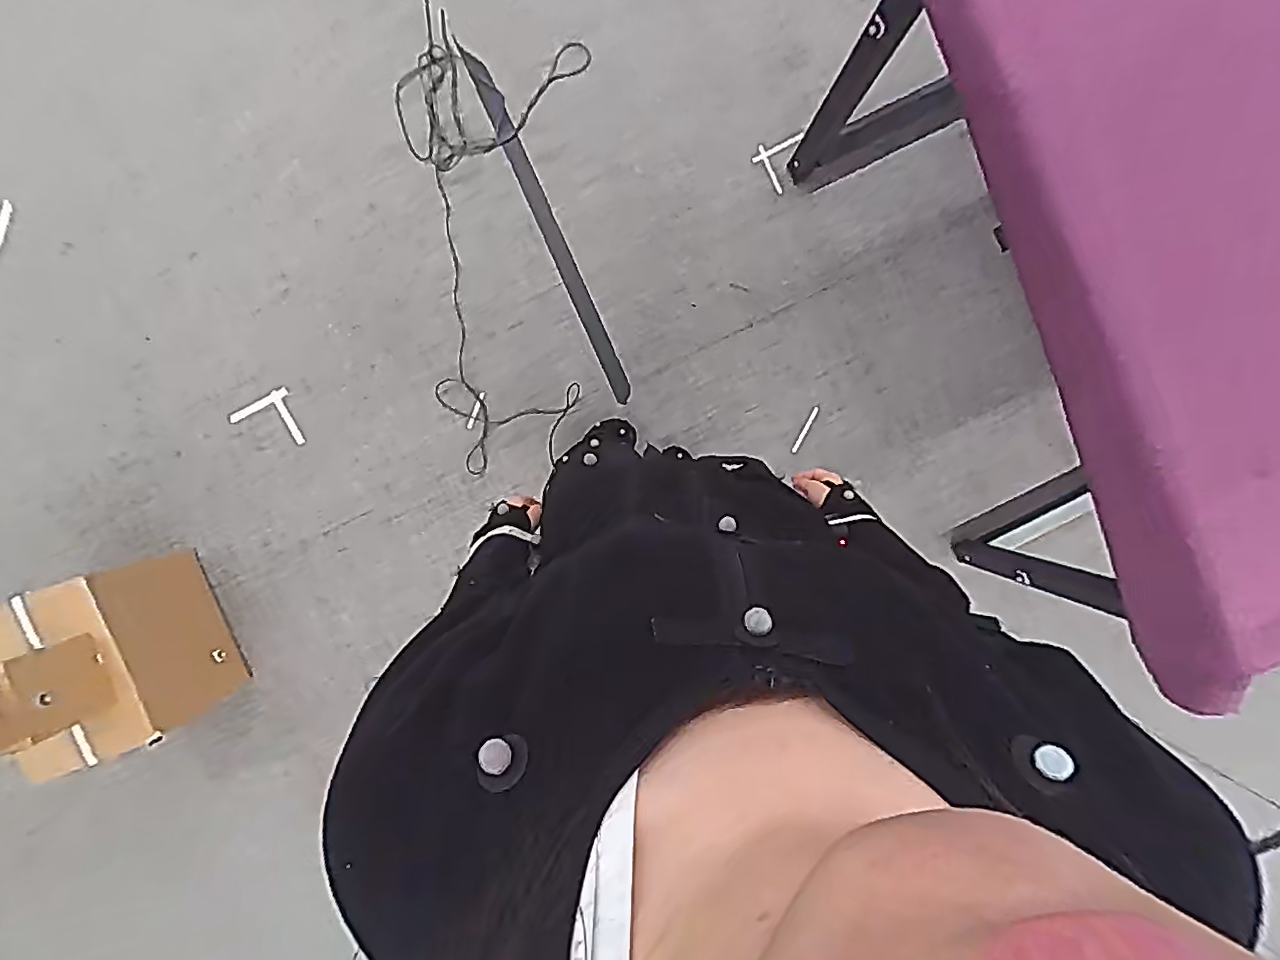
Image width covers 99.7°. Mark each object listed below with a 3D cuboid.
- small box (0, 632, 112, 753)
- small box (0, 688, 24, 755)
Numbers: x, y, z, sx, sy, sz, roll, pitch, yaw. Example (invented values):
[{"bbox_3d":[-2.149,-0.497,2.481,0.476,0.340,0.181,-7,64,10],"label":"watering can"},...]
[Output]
[{"bbox_3d":[-1.260,0.440,1.113,0.168,0.176,0.179,-17,93,0],"label":"small box"},{"bbox_3d":[-1.268,0.463,0.952,0.179,0.176,0.168,-33,93,2],"label":"small box"}]
